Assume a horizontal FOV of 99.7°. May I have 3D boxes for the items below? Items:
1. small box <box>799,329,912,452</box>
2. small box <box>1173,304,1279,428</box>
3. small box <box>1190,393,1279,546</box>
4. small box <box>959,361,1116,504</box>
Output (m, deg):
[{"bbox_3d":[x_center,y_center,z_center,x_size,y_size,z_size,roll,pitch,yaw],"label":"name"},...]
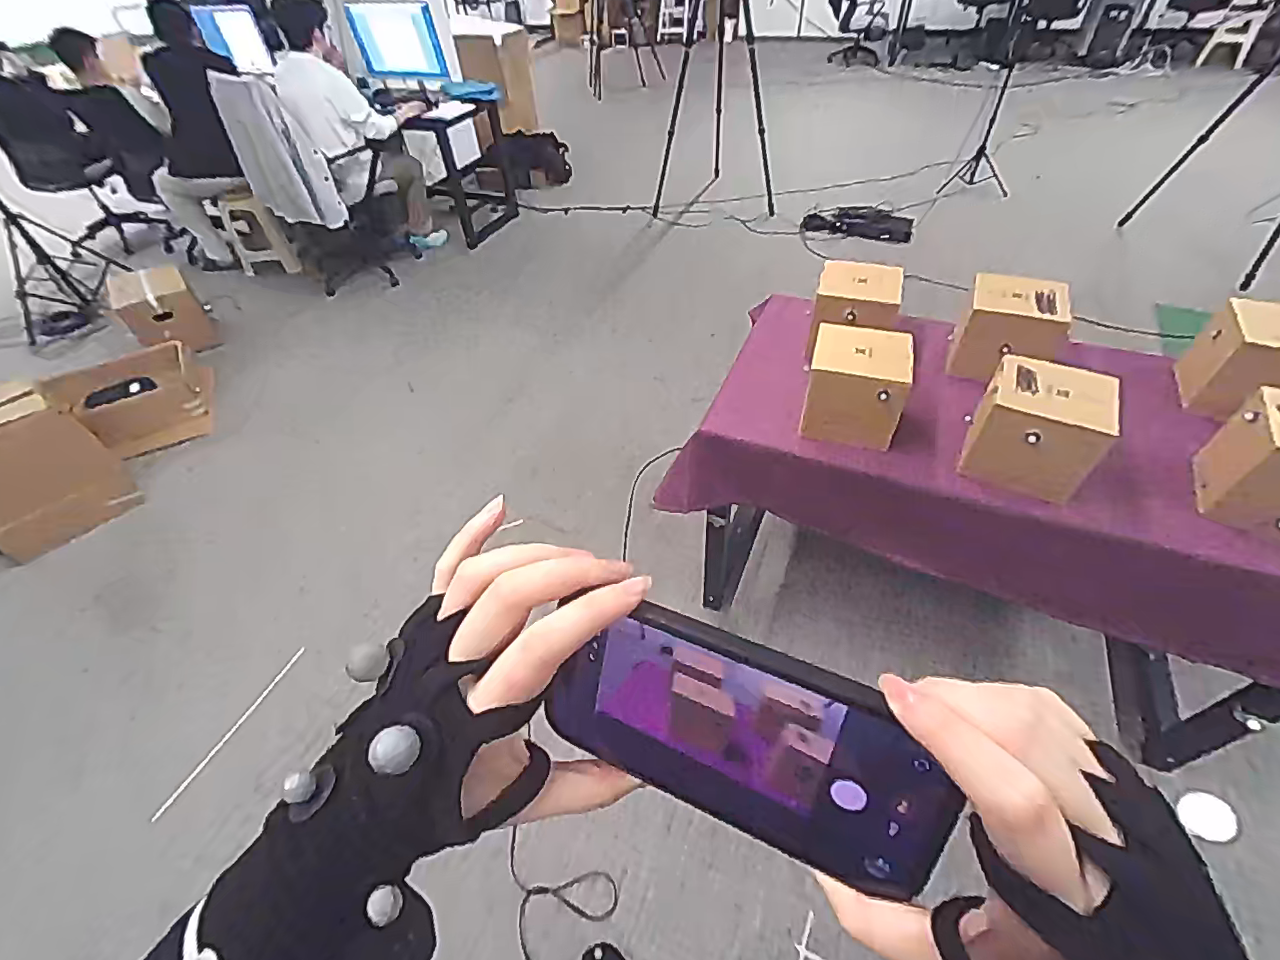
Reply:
[{"bbox_3d":[0.425,-0.177,1.079,0.179,0.176,0.168,13,48,14],"label":"small box"},{"bbox_3d":[1.198,-0.214,1.057,0.168,0.176,0.179,19,51,21],"label":"small box"},{"bbox_3d":[1.052,-0.007,0.871,0.179,0.176,0.168,23,52,23],"label":"small box"},{"bbox_3d":[0.703,-0.084,0.969,0.179,0.176,0.168,22,52,22],"label":"small box"}]
